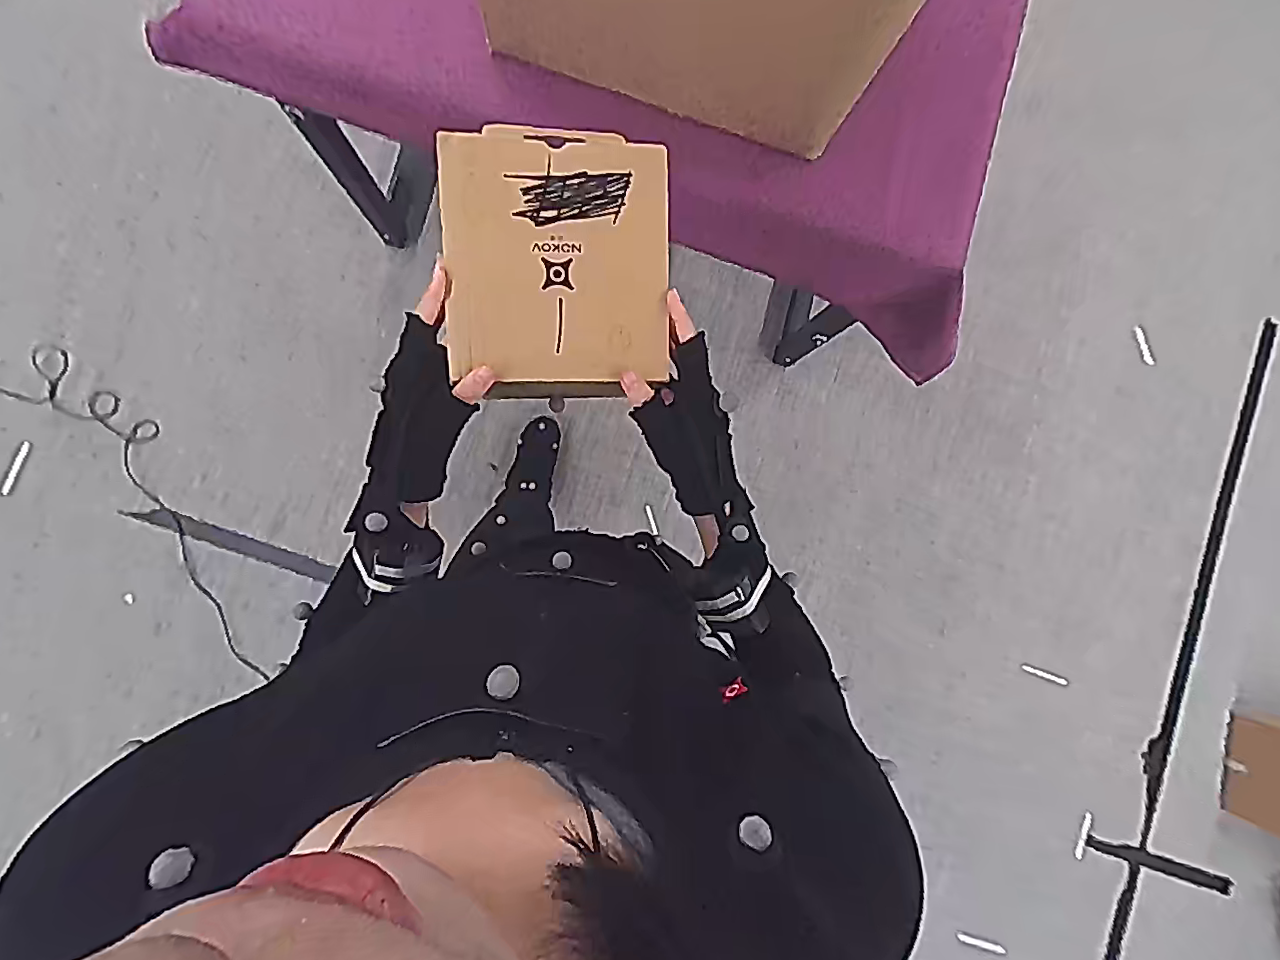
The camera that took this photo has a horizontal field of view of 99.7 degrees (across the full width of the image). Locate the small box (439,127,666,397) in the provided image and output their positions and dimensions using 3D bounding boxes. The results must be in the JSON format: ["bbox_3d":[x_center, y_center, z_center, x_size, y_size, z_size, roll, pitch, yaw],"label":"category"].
[{"bbox_3d":[-0.073,-0.168,0.475,0.168,0.176,0.179,-1,95,-7],"label":"small box"}]
